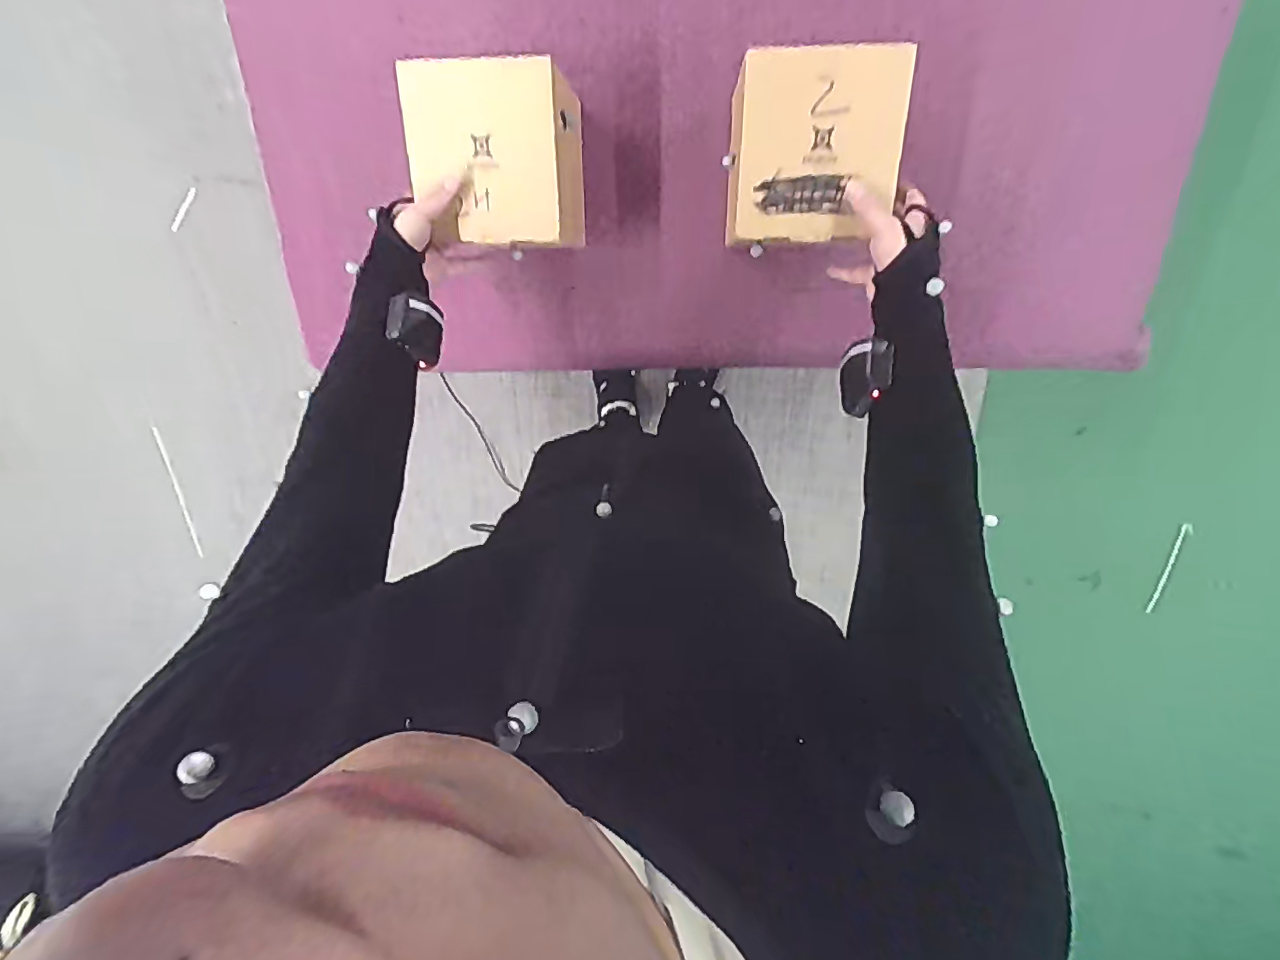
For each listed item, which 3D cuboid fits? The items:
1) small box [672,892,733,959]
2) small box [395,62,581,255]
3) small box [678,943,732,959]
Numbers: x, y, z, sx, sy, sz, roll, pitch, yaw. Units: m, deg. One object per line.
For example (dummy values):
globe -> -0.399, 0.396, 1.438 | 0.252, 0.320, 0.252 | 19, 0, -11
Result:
small box -> 0.200, 1.502, 1.782 | 0.179, 0.176, 0.168 | 5, 112, 2
small box -> -0.167, -0.370, 0.653 | 0.168, 0.176, 0.179 | 2, 112, 4
small box -> 0.194, 1.551, 1.628 | 0.168, 0.176, 0.179 | 5, 112, 3
